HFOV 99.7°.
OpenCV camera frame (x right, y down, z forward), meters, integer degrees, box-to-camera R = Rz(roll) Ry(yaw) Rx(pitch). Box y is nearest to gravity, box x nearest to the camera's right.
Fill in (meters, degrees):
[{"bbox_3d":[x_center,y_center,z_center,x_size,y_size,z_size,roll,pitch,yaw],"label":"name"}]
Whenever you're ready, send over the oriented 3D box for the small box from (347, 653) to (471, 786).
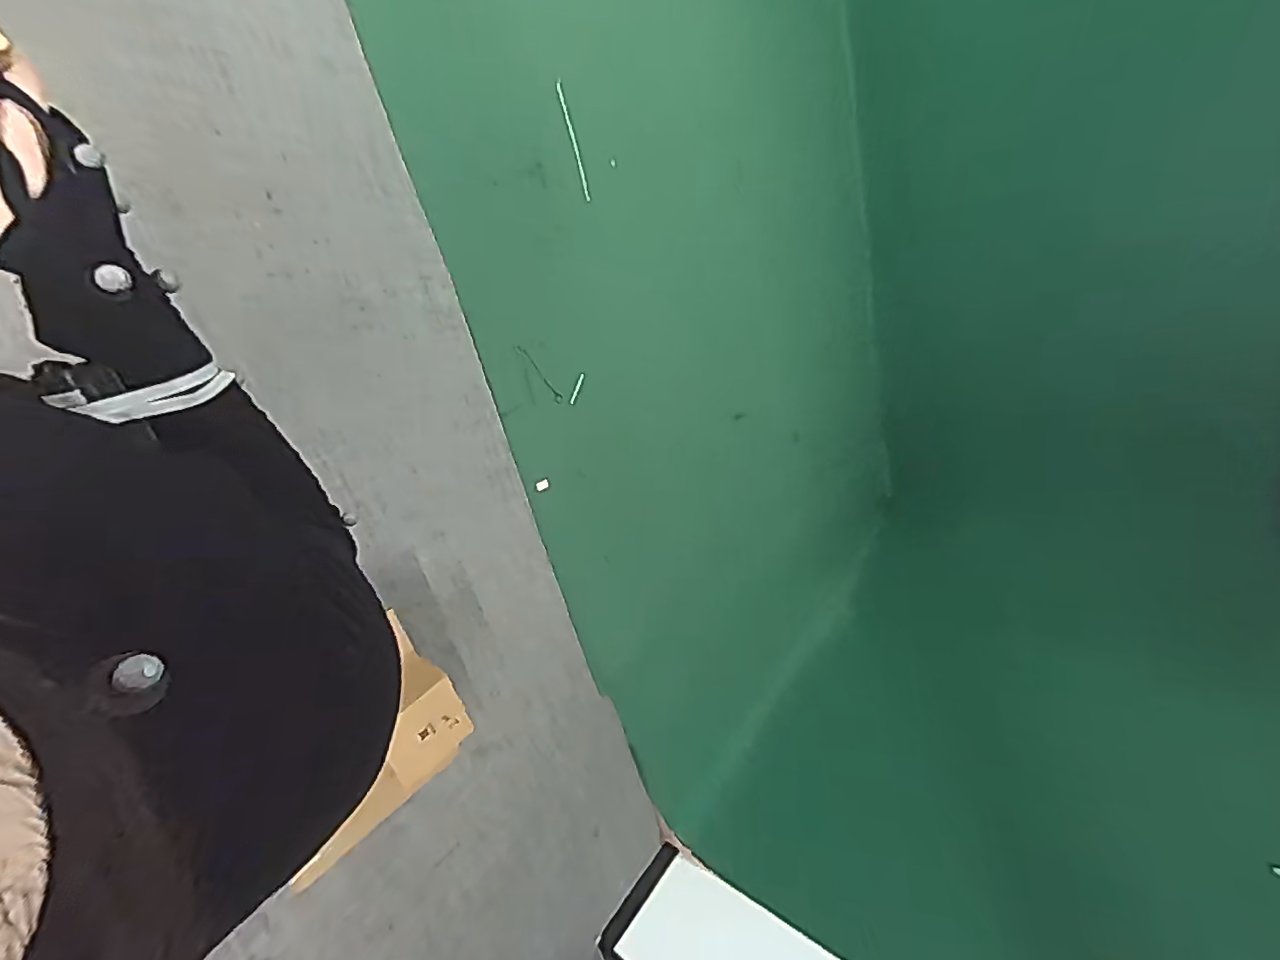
[{"bbox_3d":[-0.512,0.515,1.187,0.179,0.176,0.168,-35,120,-39],"label":"small box"}]
